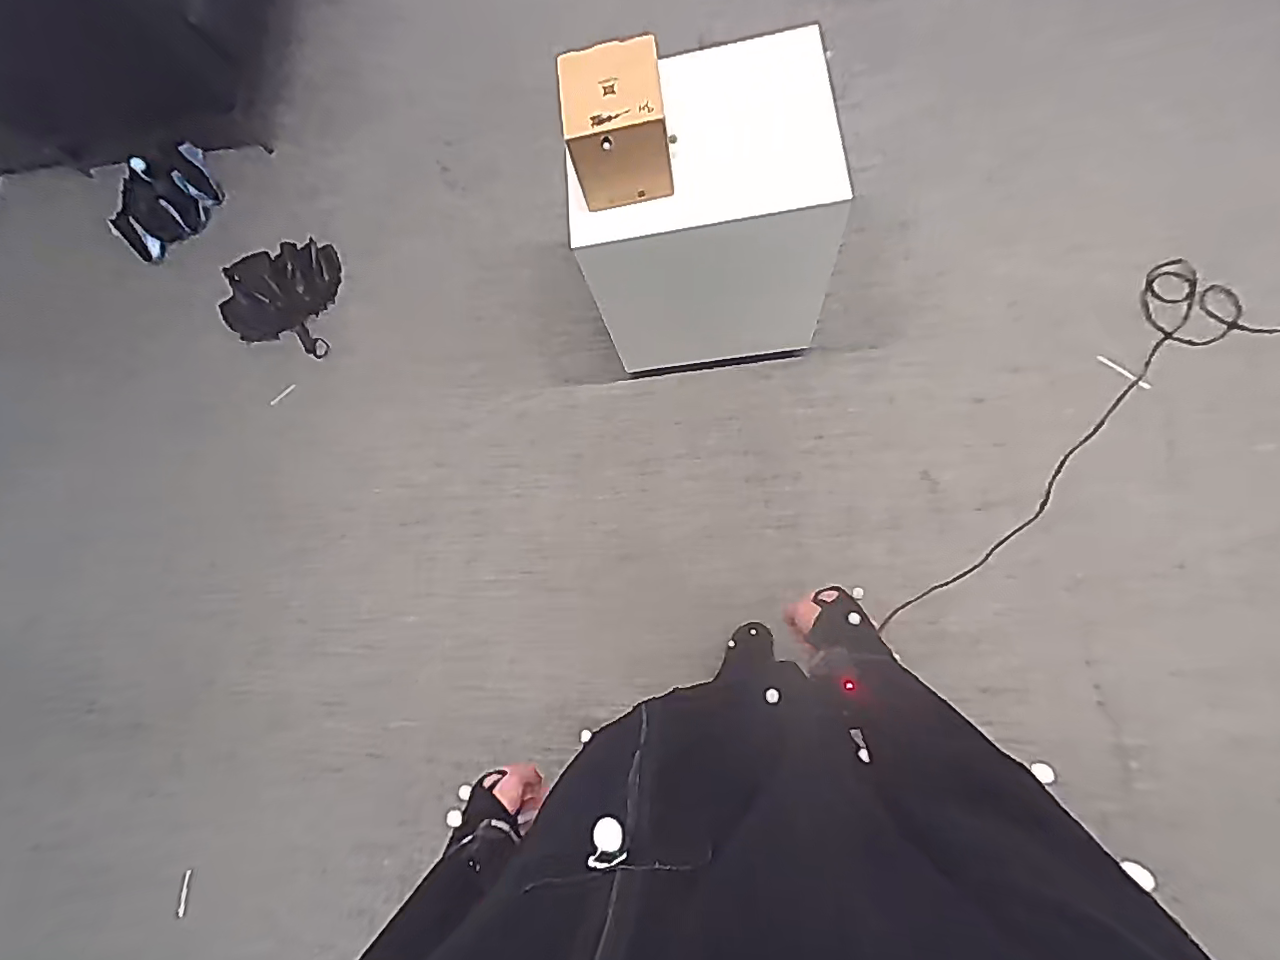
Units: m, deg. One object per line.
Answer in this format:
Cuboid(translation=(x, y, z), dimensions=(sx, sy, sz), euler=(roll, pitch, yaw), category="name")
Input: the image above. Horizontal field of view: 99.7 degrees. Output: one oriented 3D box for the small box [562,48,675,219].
Cuboid(translation=(-0.034, -0.602, 0.956), dimensions=(0.168, 0.176, 0.179), euler=(-8, 74, 8), category="small box")
